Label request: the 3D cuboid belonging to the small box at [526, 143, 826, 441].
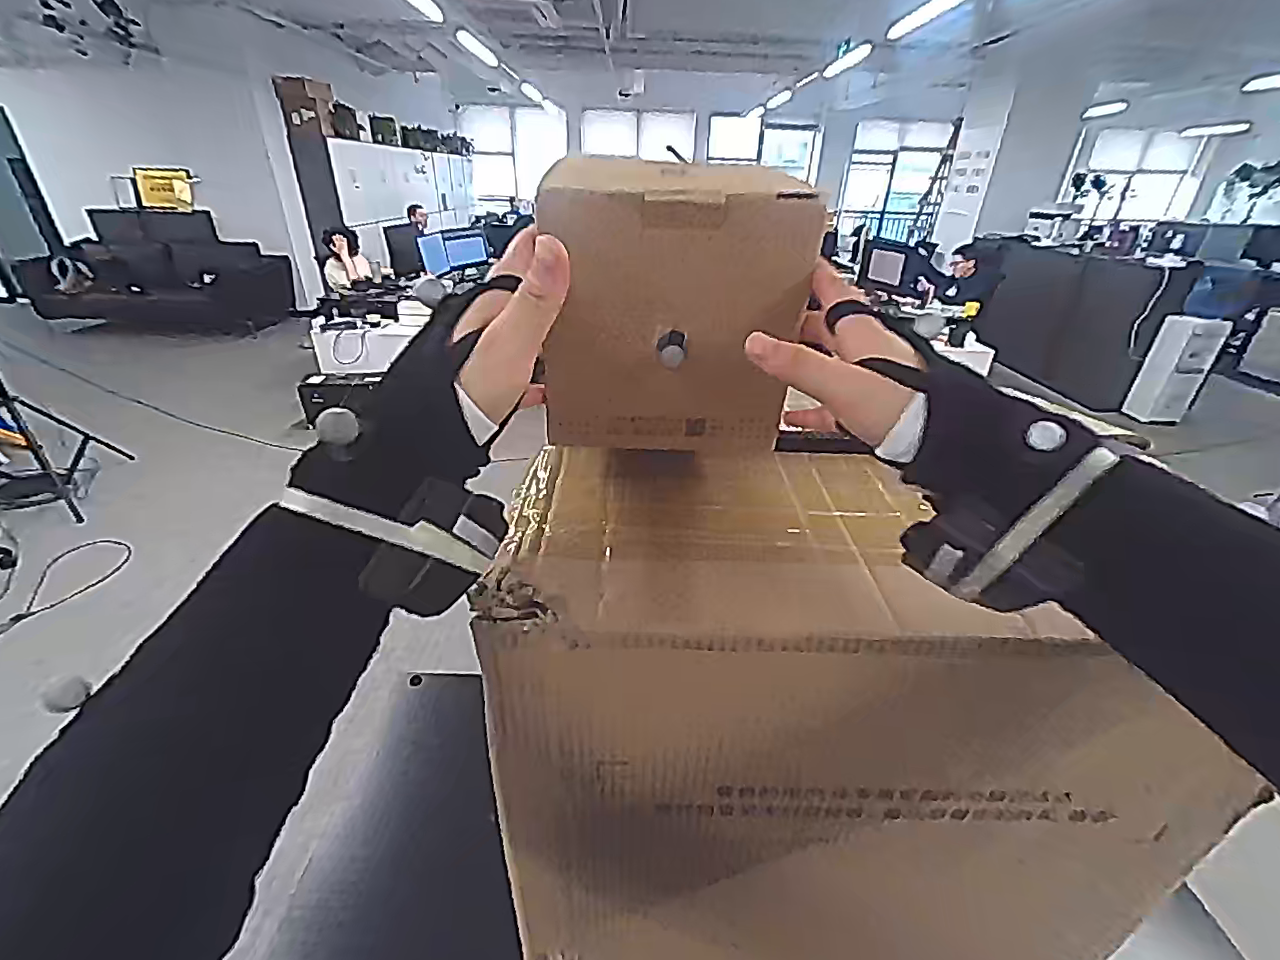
[{"bbox_3d":[0.018,-0.141,0.402,0.168,0.176,0.179,1,38,-2],"label":"small box"}]
